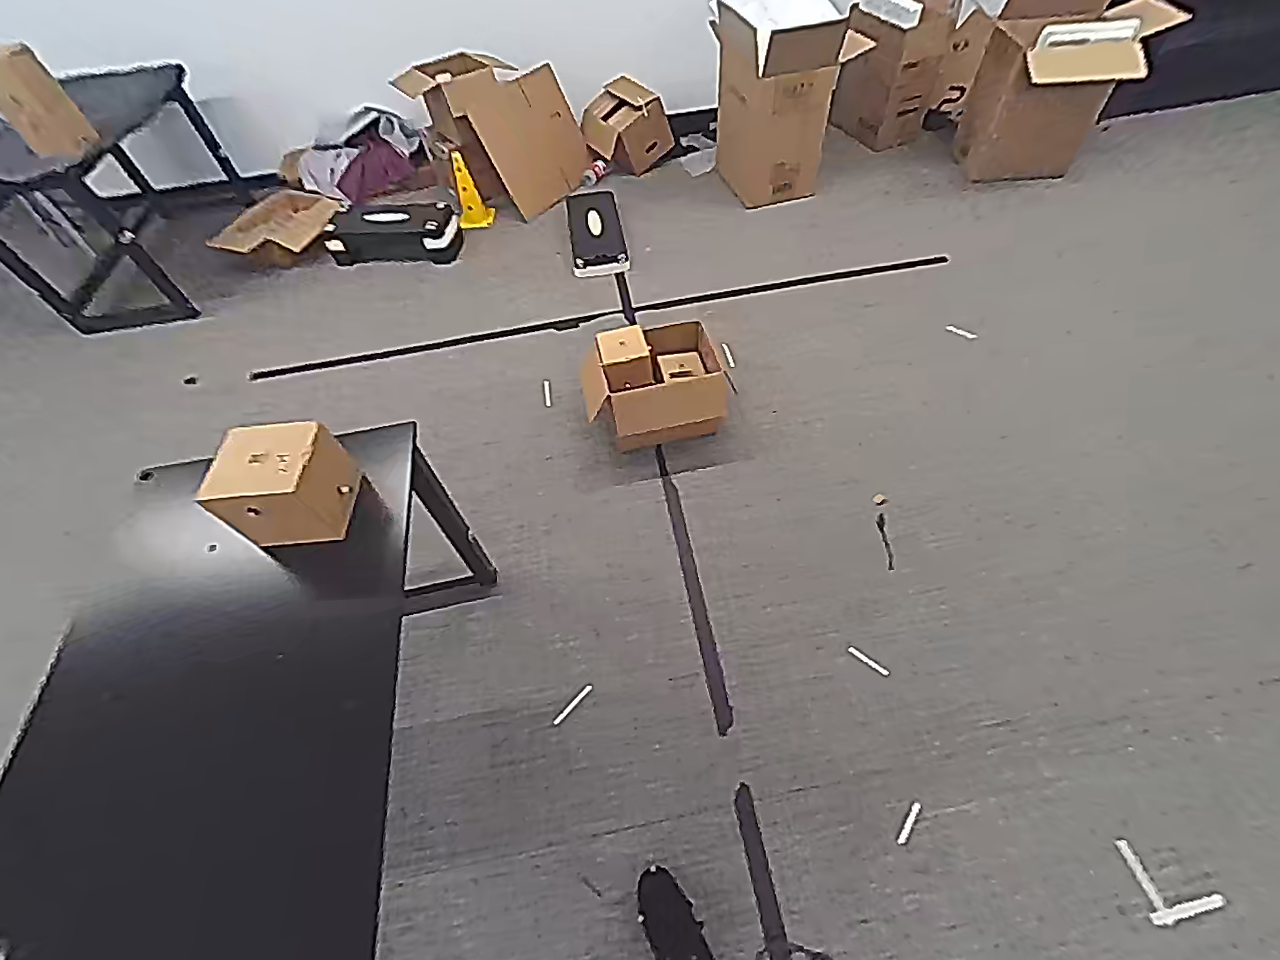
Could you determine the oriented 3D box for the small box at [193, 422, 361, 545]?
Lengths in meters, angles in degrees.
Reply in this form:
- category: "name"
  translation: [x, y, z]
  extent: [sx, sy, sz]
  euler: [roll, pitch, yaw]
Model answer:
- category: "small box"
  translation: [-0.671, 0.013, 1.024]
  extent: [0.179, 0.176, 0.168]
  euler: [-5, 55, 1]
